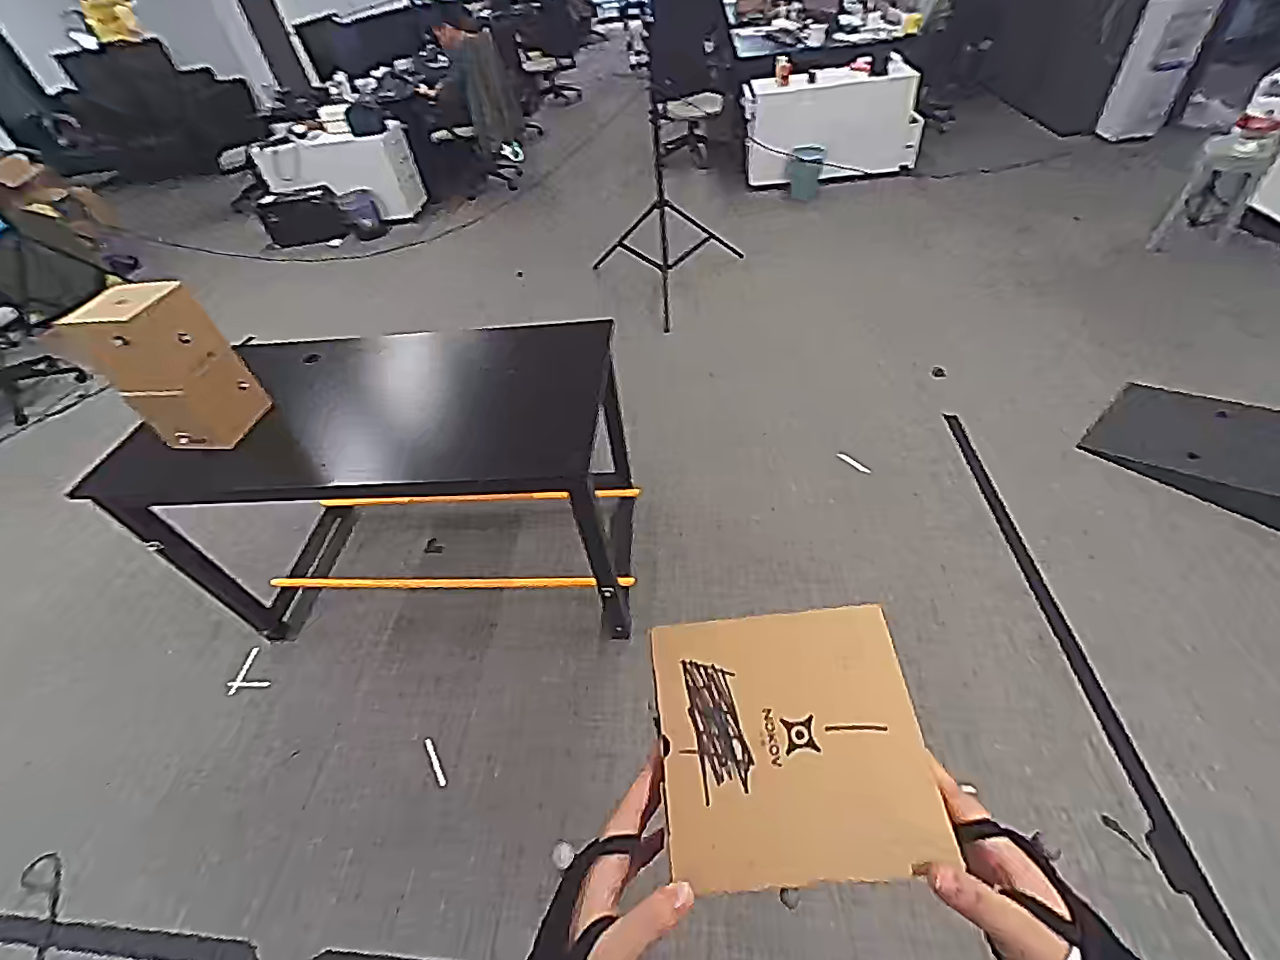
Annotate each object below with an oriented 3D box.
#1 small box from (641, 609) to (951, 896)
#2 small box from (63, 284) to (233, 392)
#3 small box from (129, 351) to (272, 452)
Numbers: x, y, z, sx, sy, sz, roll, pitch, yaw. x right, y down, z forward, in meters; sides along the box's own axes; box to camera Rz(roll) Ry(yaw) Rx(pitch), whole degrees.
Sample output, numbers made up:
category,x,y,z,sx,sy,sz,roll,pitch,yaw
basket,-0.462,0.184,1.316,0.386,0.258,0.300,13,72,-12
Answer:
category,x,y,z,sx,sy,sz,roll,pitch,yaw
small box,0.100,0.216,0.429,0.179,0.176,0.168,-7,57,2
small box,-1.053,-0.305,1.179,0.179,0.176,0.168,0,46,9
small box,-1.030,-0.187,1.292,0.168,0.176,0.179,-1,47,10
